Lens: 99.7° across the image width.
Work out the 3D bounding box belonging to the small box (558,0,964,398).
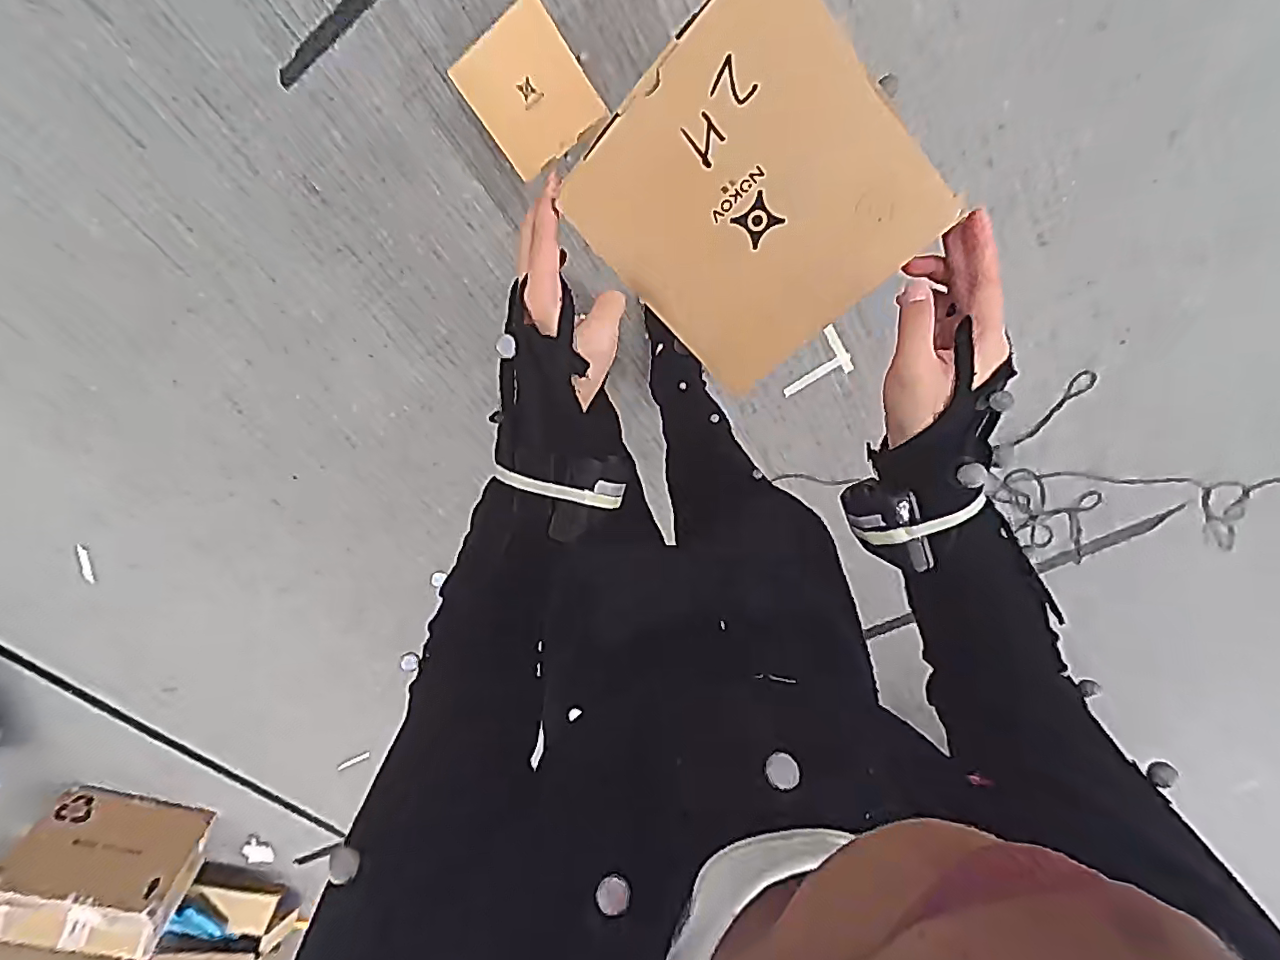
[{"bbox_3d":[0.076,-0.196,0.376,0.179,0.176,0.168,42,118,-18],"label":"small box"}]

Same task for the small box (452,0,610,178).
[{"bbox_3d":[-0.163,-0.616,0.866,0.168,0.176,0.179,-32,118,17],"label":"small box"}]
